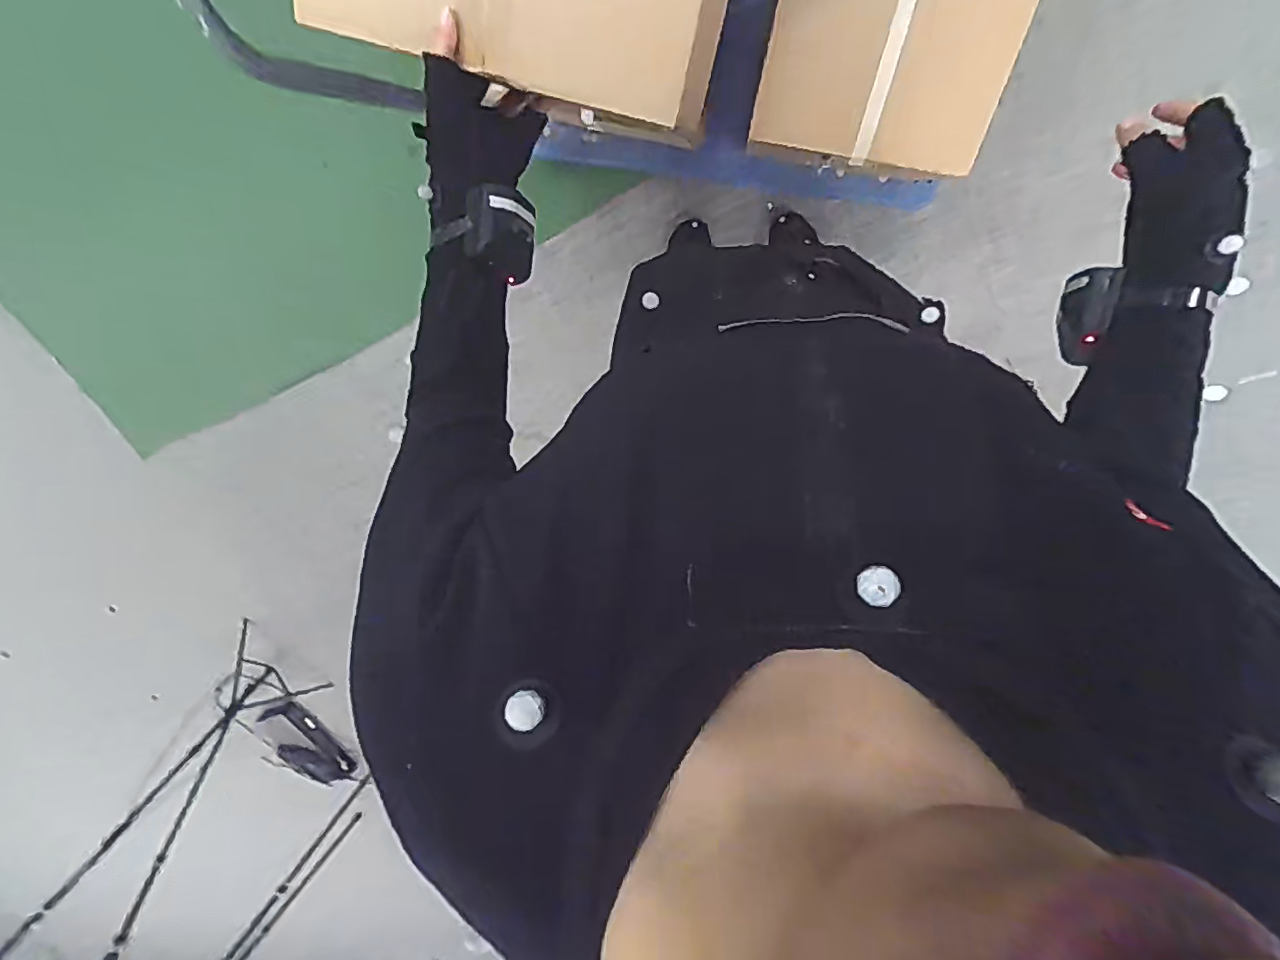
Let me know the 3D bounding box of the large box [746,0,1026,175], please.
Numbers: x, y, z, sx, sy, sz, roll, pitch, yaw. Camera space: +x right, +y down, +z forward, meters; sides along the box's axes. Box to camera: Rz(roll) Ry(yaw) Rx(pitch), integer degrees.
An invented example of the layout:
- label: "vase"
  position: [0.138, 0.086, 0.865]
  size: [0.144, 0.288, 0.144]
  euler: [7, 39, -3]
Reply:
- label: "large box"
  position: [0.355, -0.701, 0.797]
  size: [0.320, 0.320, 0.408]
  euler: [13, 119, 4]
